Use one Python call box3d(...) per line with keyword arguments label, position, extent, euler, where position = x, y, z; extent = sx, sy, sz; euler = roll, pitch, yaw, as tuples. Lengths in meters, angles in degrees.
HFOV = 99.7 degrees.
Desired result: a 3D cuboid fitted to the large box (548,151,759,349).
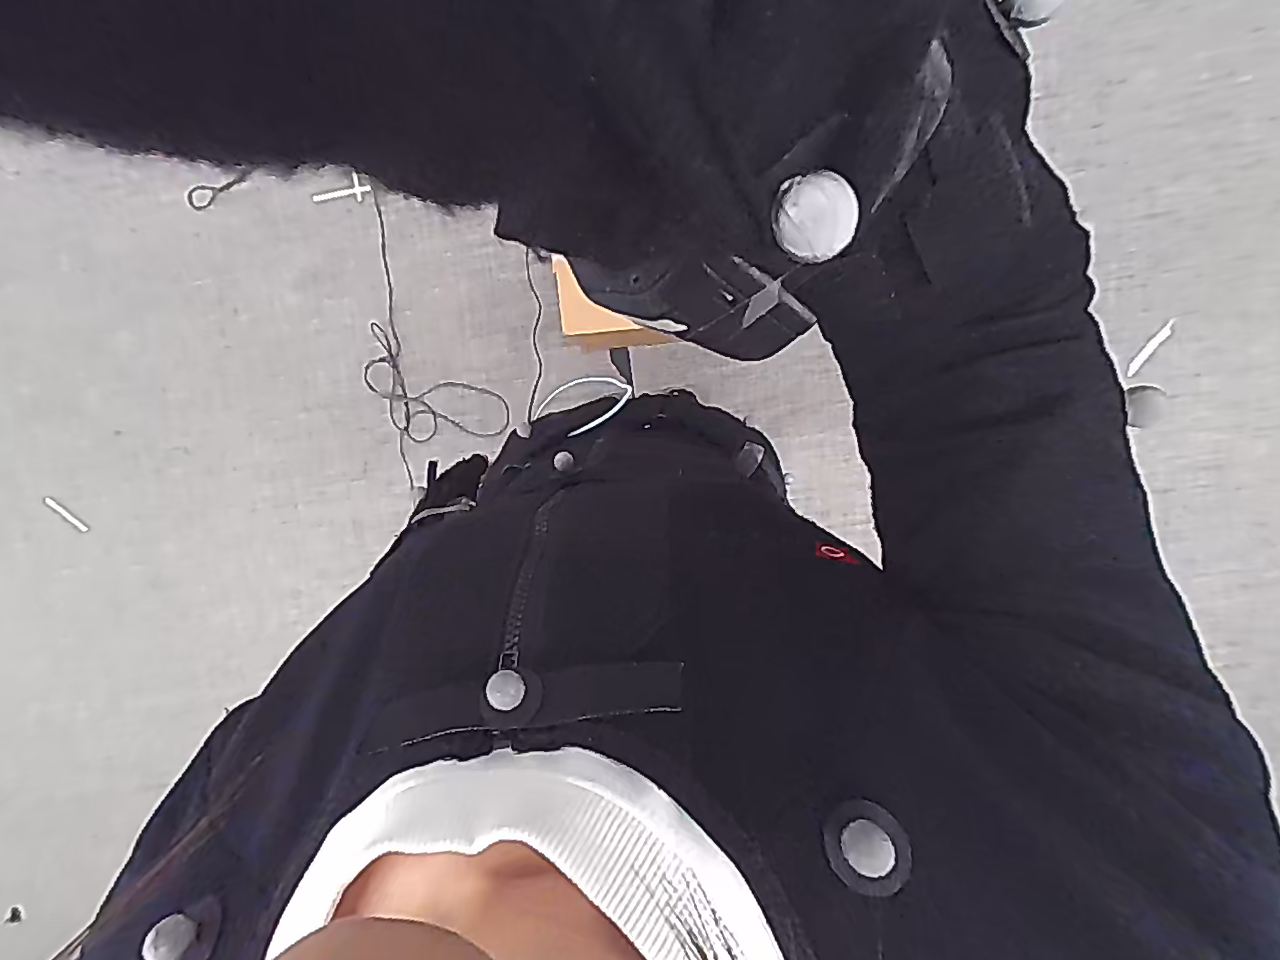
box3d(label="large box", position=(0.031, -0.490, 1.227), extent=(0.408, 0.320, 0.320), euler=(-6, 98, 2))
